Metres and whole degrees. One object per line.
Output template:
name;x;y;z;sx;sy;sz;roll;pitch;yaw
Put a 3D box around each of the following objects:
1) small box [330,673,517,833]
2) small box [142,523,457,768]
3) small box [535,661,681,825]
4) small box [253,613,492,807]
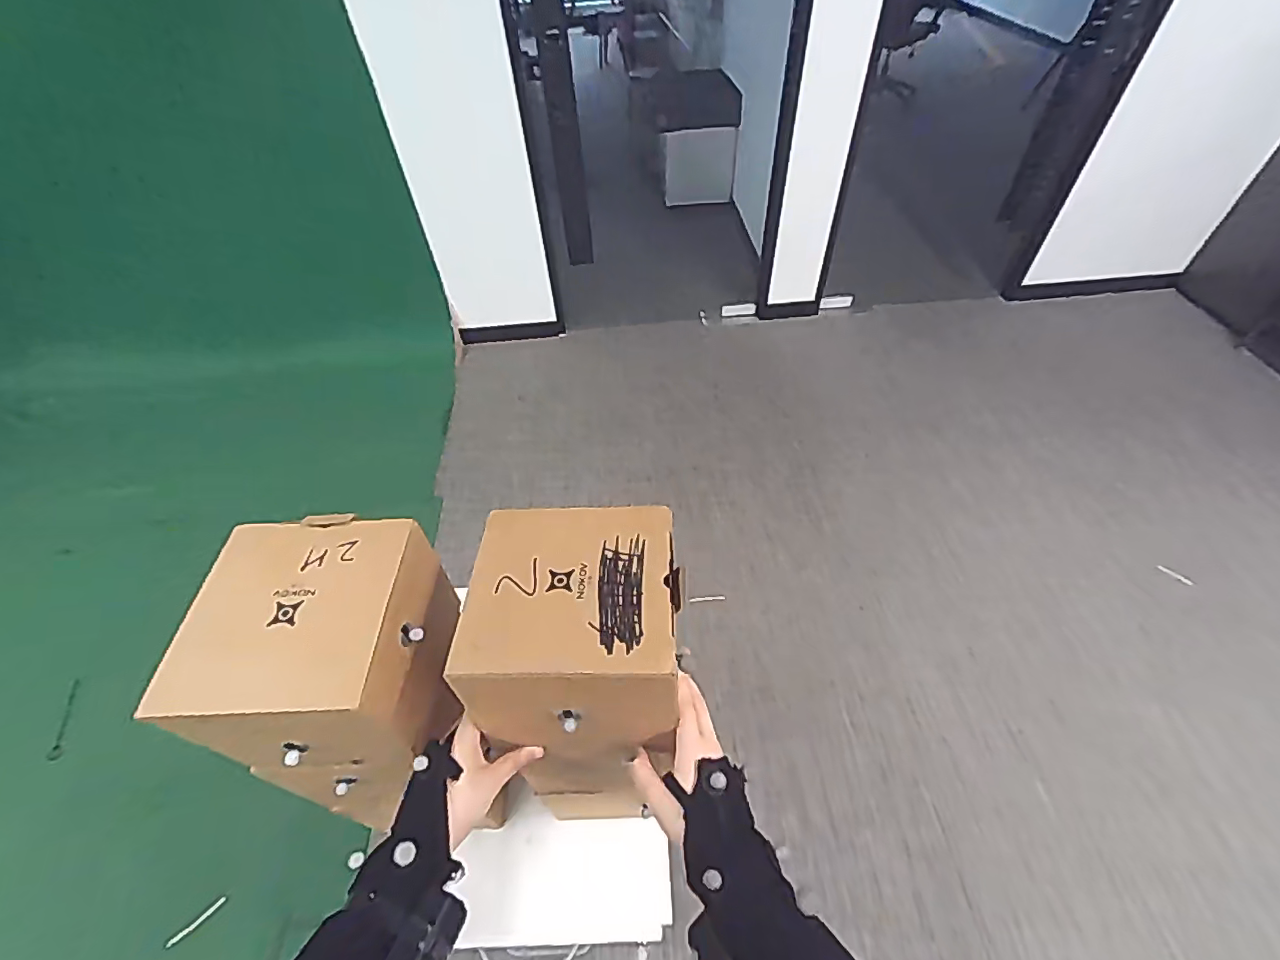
small box;-0.282;0.382;0.752;0.179;0.176;0.168;-1;50;-1
small box;-0.285;0.160;0.508;0.168;0.176;0.179;-1;49;-2
small box;-0.037;0.368;0.754;0.179;0.176;0.168;-4;48;2
small box;-0.287;0.270;0.629;0.179;0.176;0.168;-2;49;-1
